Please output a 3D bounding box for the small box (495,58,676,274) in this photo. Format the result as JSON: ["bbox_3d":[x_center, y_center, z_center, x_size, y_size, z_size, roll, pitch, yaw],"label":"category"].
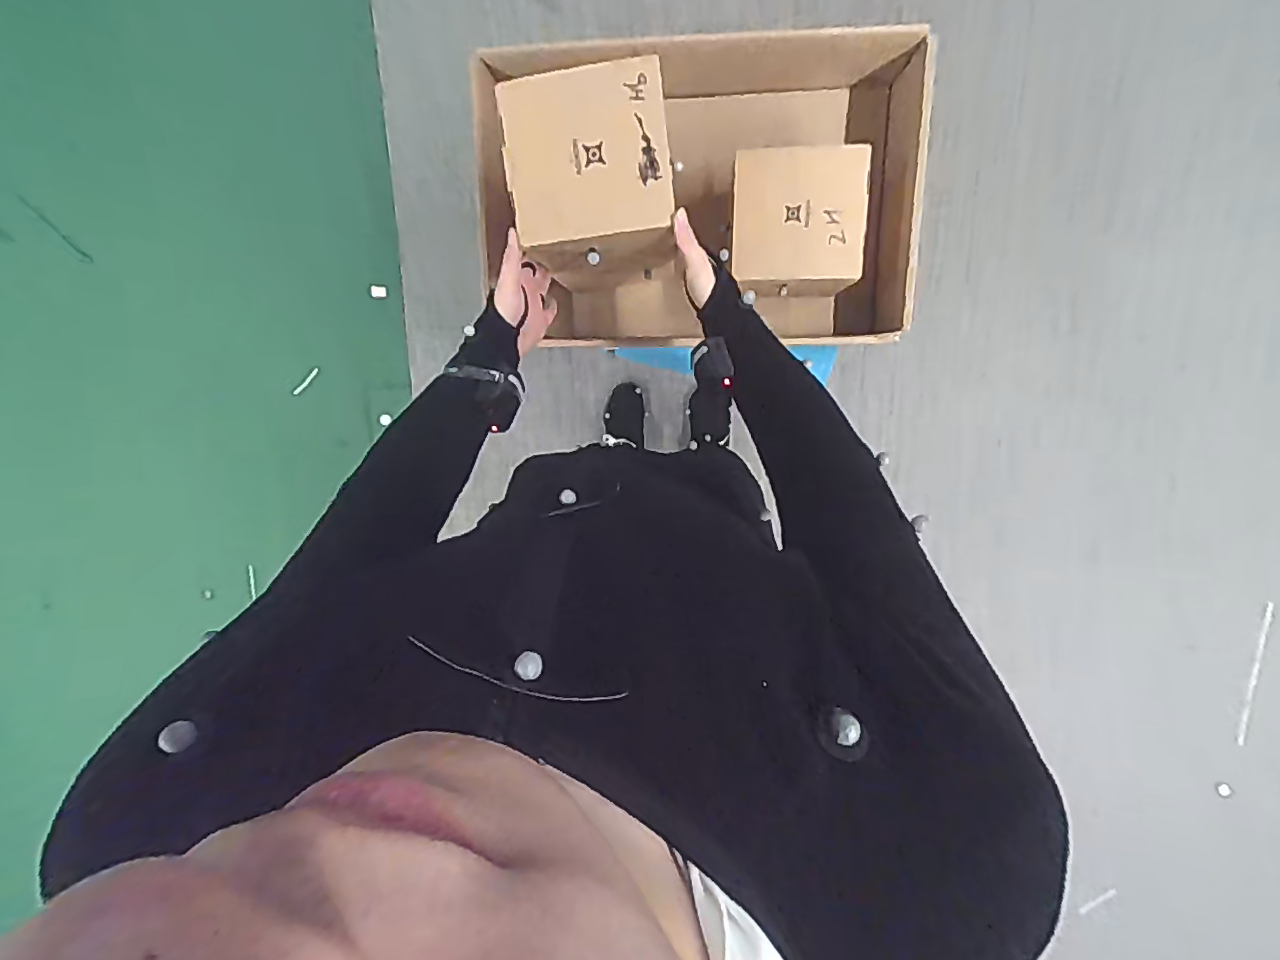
[{"bbox_3d":[-0.052,-0.355,0.647,0.179,0.176,0.168,-6,101,6],"label":"small box"}]
